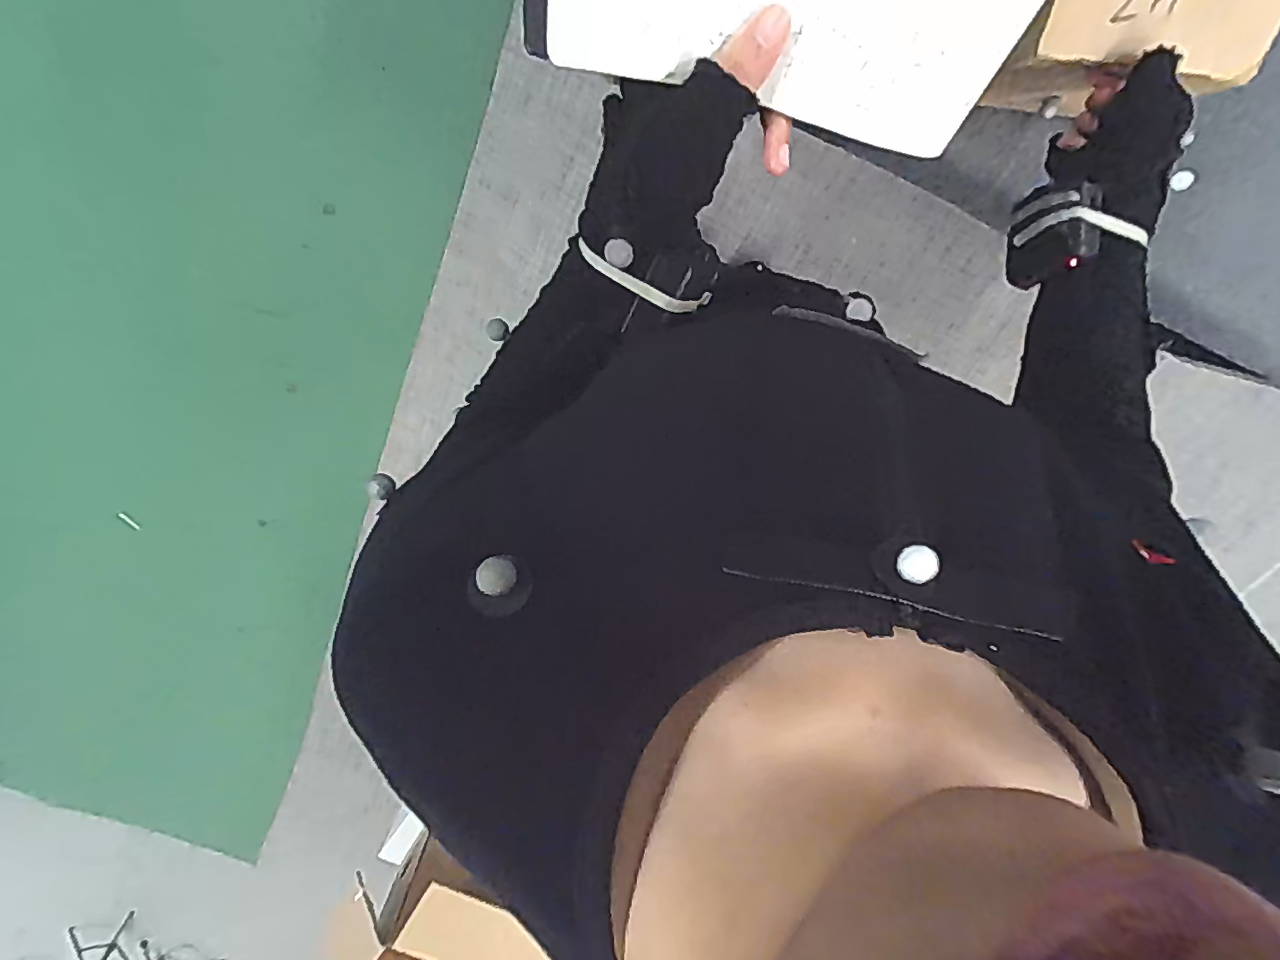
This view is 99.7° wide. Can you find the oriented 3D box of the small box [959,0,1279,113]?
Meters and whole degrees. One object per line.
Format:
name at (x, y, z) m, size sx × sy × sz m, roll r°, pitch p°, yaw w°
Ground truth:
small box at (0.398, -0.425, 0.439) m, size 0.168 × 0.176 × 0.179 m, roll 8°, pitch 116°, yaw 2°
